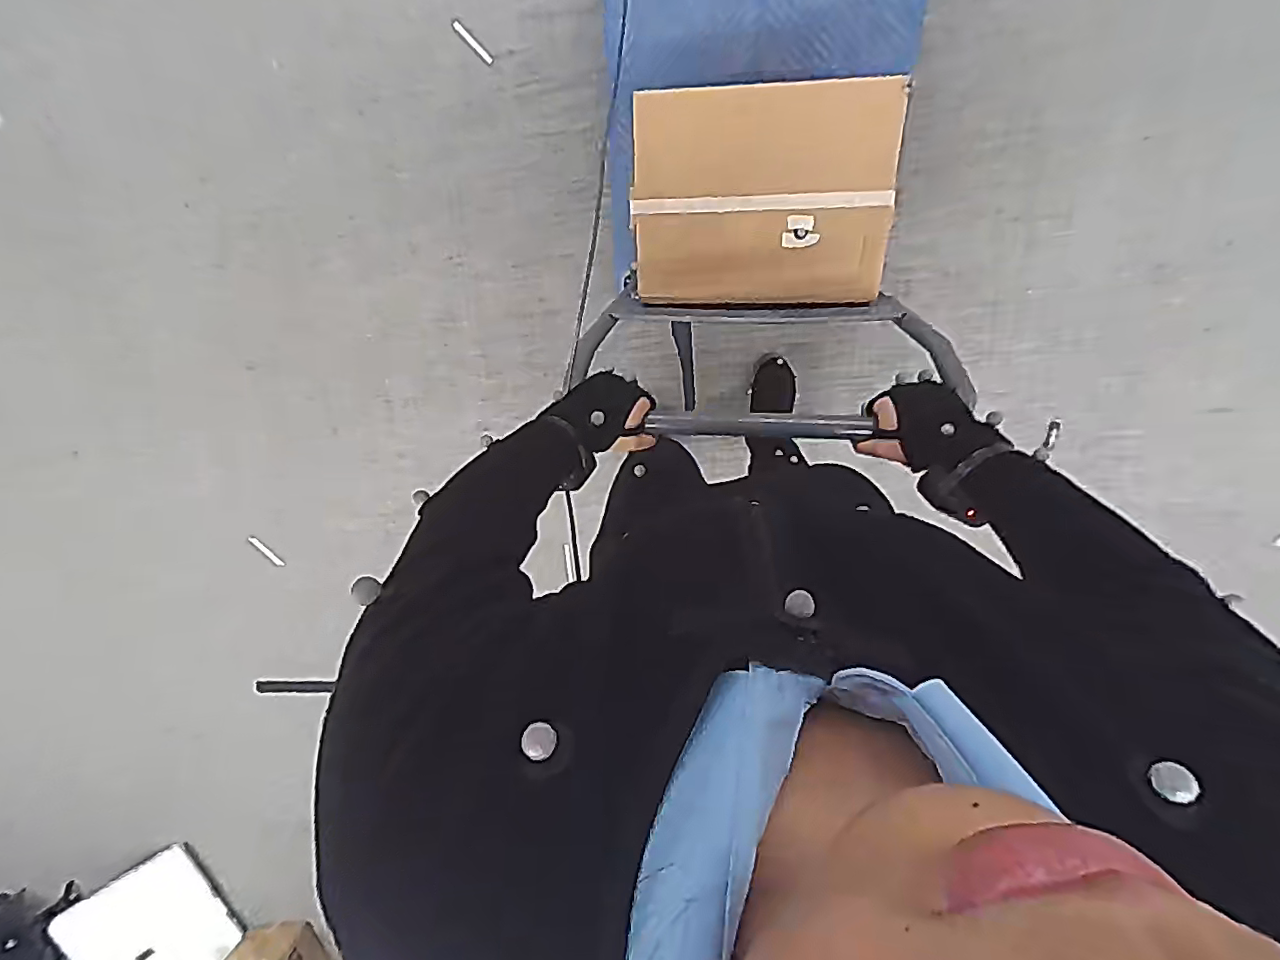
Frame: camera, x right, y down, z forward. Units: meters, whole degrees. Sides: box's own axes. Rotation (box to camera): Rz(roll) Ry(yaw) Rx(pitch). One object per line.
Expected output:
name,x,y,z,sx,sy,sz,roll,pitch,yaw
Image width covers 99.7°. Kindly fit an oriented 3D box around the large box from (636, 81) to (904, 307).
large box,0.214,-0.511,1.012,0.408,0.320,0.320,2,117,7
